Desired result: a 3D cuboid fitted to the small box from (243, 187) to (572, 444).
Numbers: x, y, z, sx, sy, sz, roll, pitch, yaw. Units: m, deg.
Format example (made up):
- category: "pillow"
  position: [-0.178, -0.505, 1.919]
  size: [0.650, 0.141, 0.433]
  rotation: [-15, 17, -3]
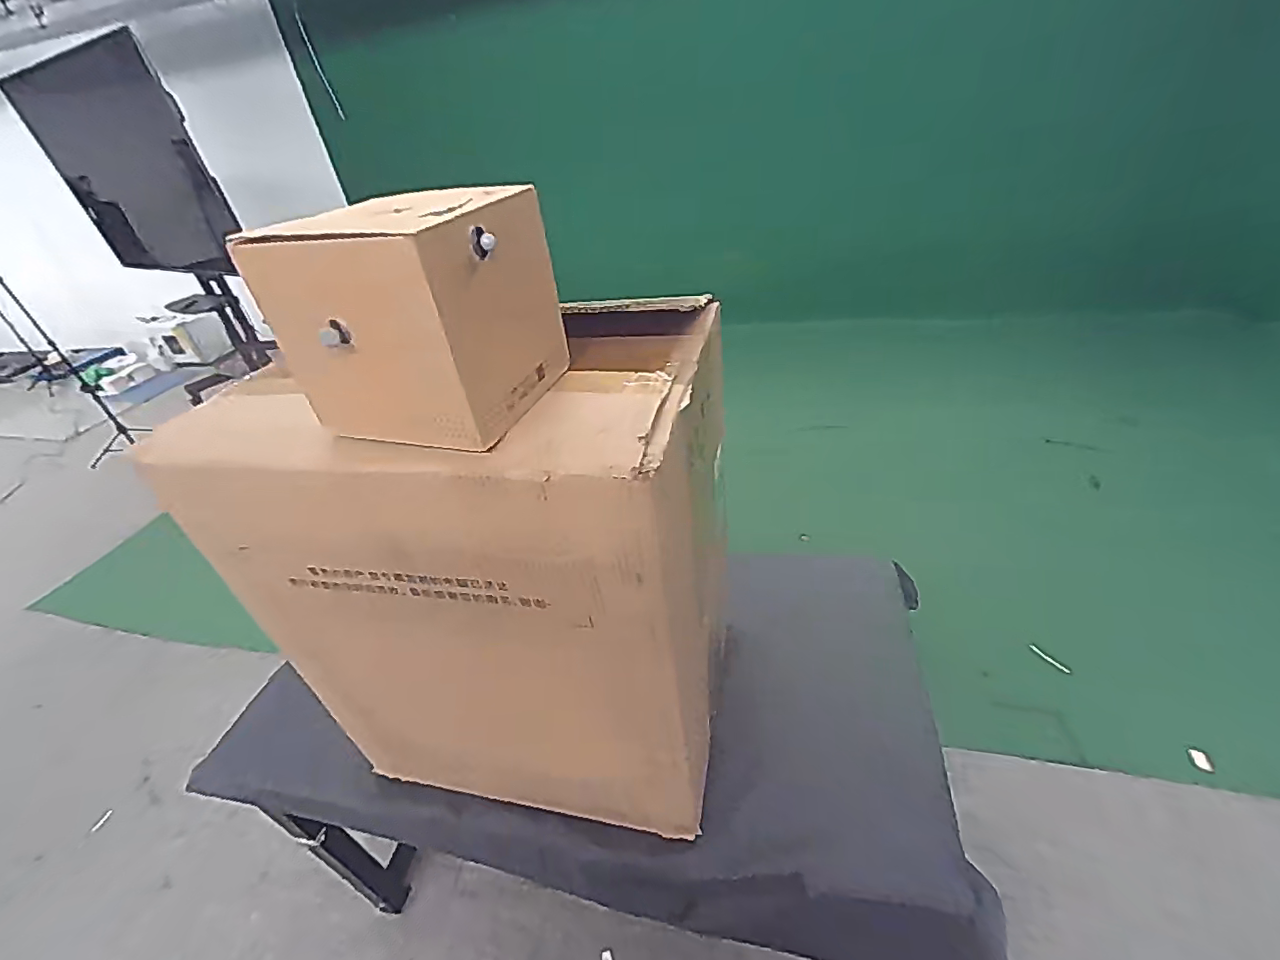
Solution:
- category: "small box"
  position: [-0.183, -0.146, 0.479]
  size: [0.179, 0.176, 0.168]
  rotation: [7, 39, 20]
